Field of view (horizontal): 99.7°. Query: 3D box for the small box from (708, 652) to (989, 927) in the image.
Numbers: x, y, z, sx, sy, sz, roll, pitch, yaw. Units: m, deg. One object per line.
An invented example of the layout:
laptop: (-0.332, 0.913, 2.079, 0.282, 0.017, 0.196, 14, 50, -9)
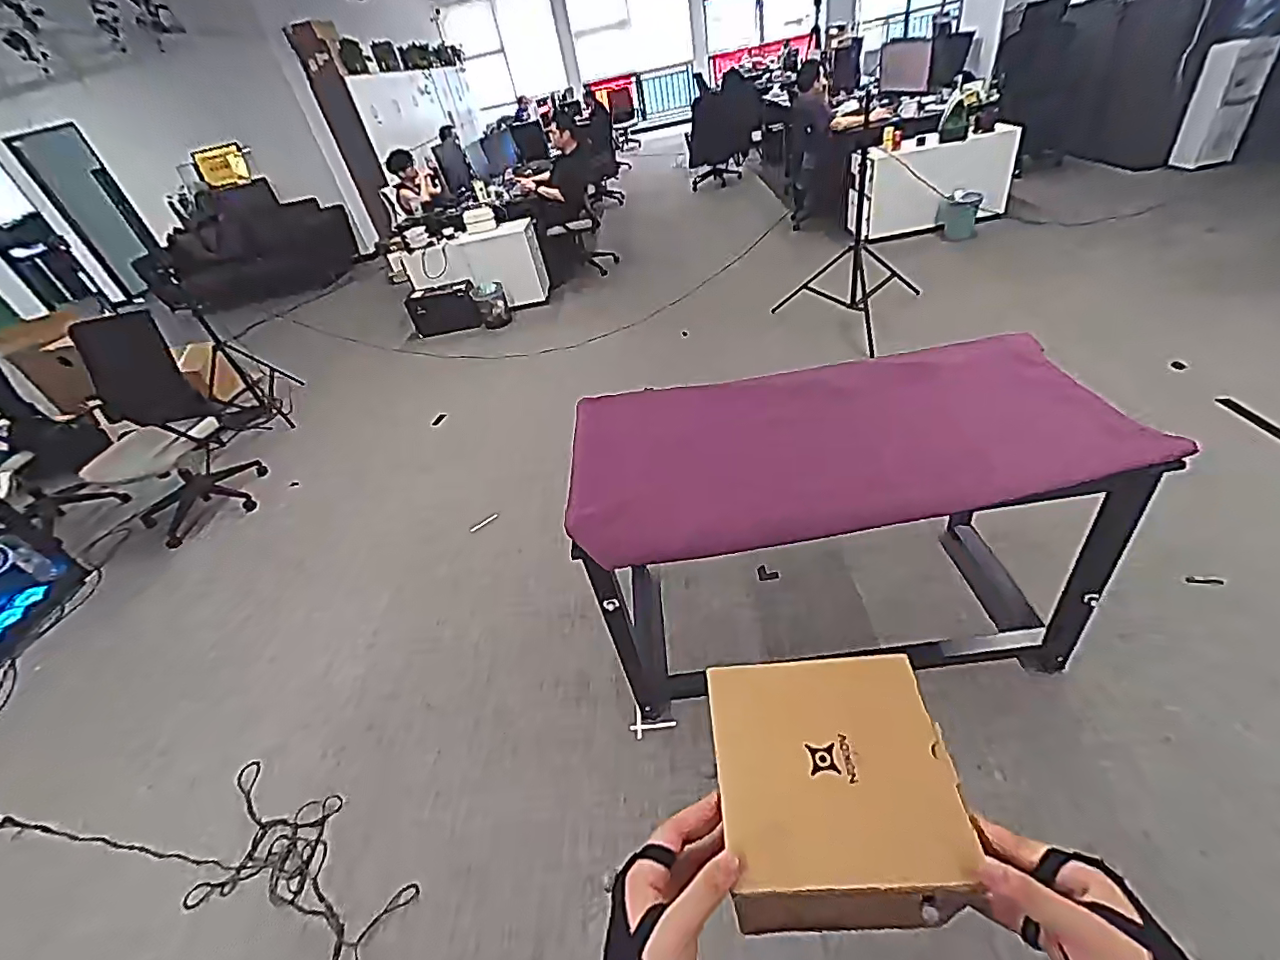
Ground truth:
small box: (0.158, 0.273, 0.474, 0.179, 0.176, 0.168, -6, 42, 5)
